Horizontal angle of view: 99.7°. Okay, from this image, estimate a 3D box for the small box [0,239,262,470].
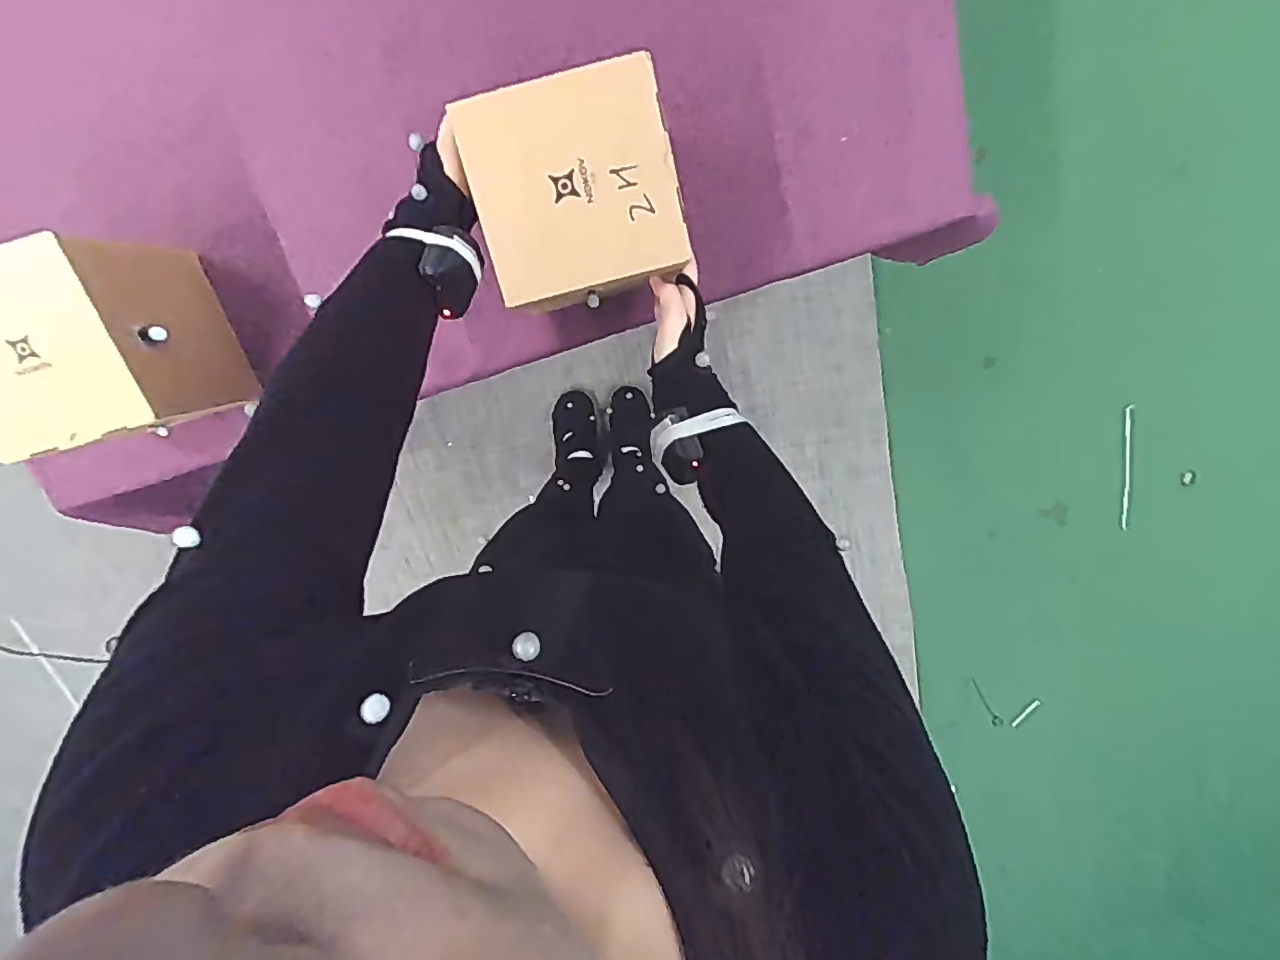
[{"bbox_3d":[-0.558,-0.132,0.570,0.168,0.176,0.179,-16,108,2],"label":"small box"}]

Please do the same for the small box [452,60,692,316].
[{"bbox_3d":[-0.058,-0.268,0.542,0.179,0.176,0.168,-15,105,1],"label":"small box"}]
